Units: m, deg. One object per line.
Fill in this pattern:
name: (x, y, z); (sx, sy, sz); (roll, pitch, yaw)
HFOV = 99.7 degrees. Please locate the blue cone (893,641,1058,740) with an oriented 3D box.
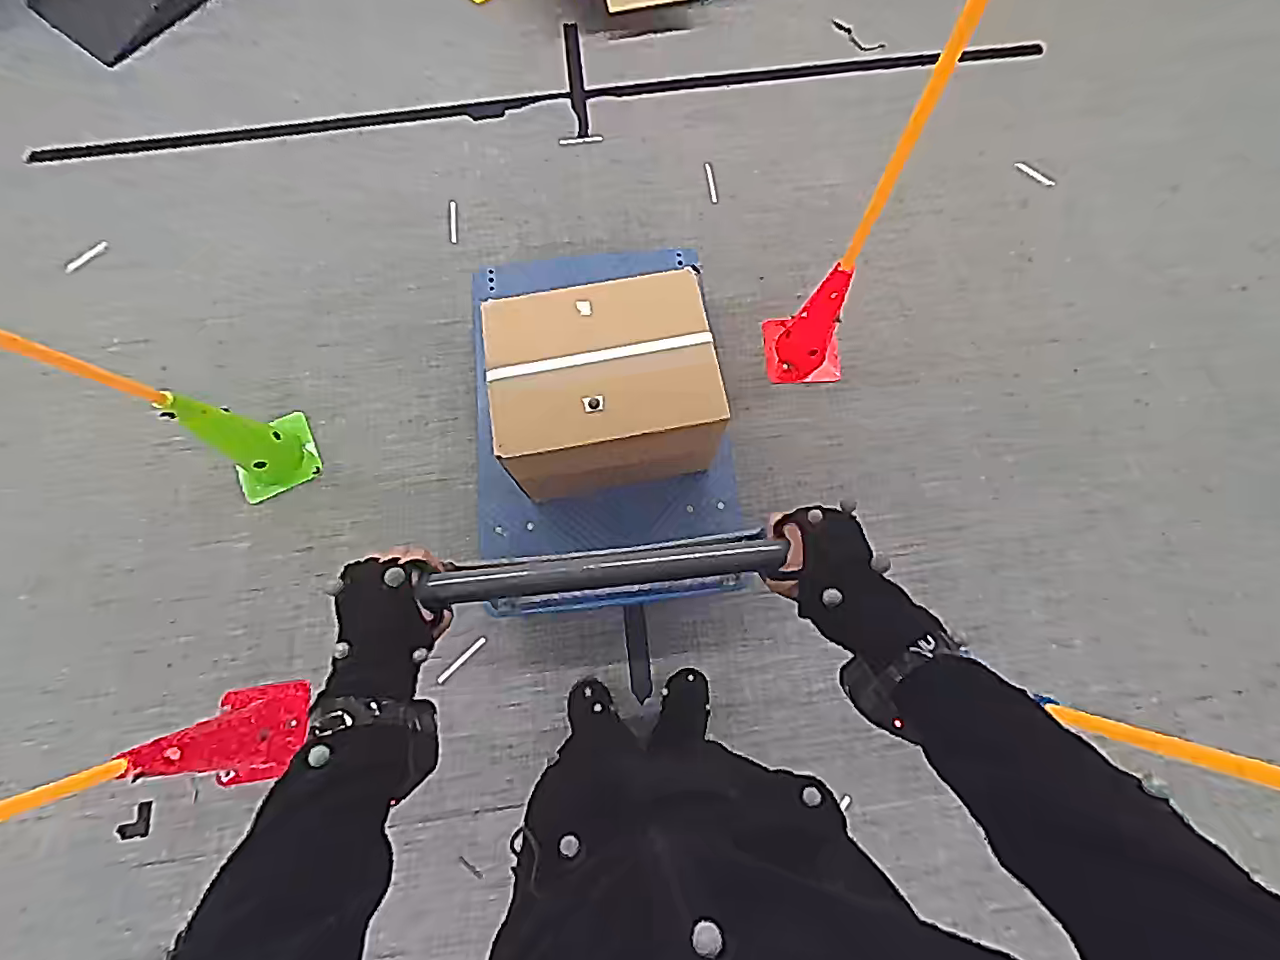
blue cone: (0.694, 0.432, 1.086); (0.193, 0.380, 0.192); (-11, 72, -3)

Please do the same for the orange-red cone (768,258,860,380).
orange-red cone: (0.456, -0.413, 1.328); (0.199, 0.360, 0.198); (0, 74, -1)
